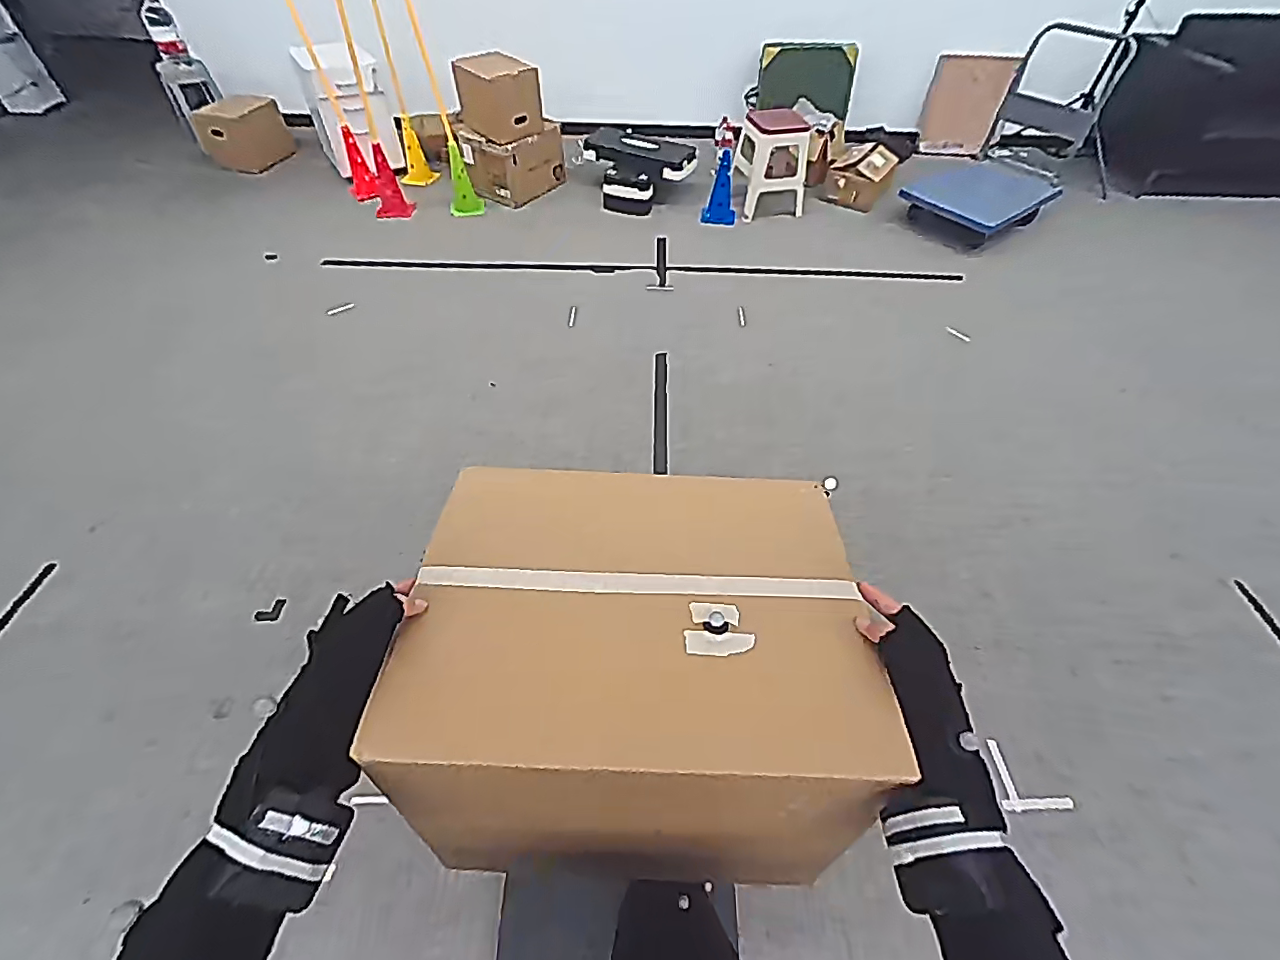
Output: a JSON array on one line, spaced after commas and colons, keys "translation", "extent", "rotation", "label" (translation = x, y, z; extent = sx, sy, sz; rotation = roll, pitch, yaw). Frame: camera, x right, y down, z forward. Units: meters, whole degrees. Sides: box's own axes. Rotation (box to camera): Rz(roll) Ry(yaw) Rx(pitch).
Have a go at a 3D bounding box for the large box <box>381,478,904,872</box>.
[{"translation": [-0.001, 0.217, 0.611], "extent": [0.408, 0.320, 0.320], "rotation": [3, 42, 0], "label": "large box"}]
